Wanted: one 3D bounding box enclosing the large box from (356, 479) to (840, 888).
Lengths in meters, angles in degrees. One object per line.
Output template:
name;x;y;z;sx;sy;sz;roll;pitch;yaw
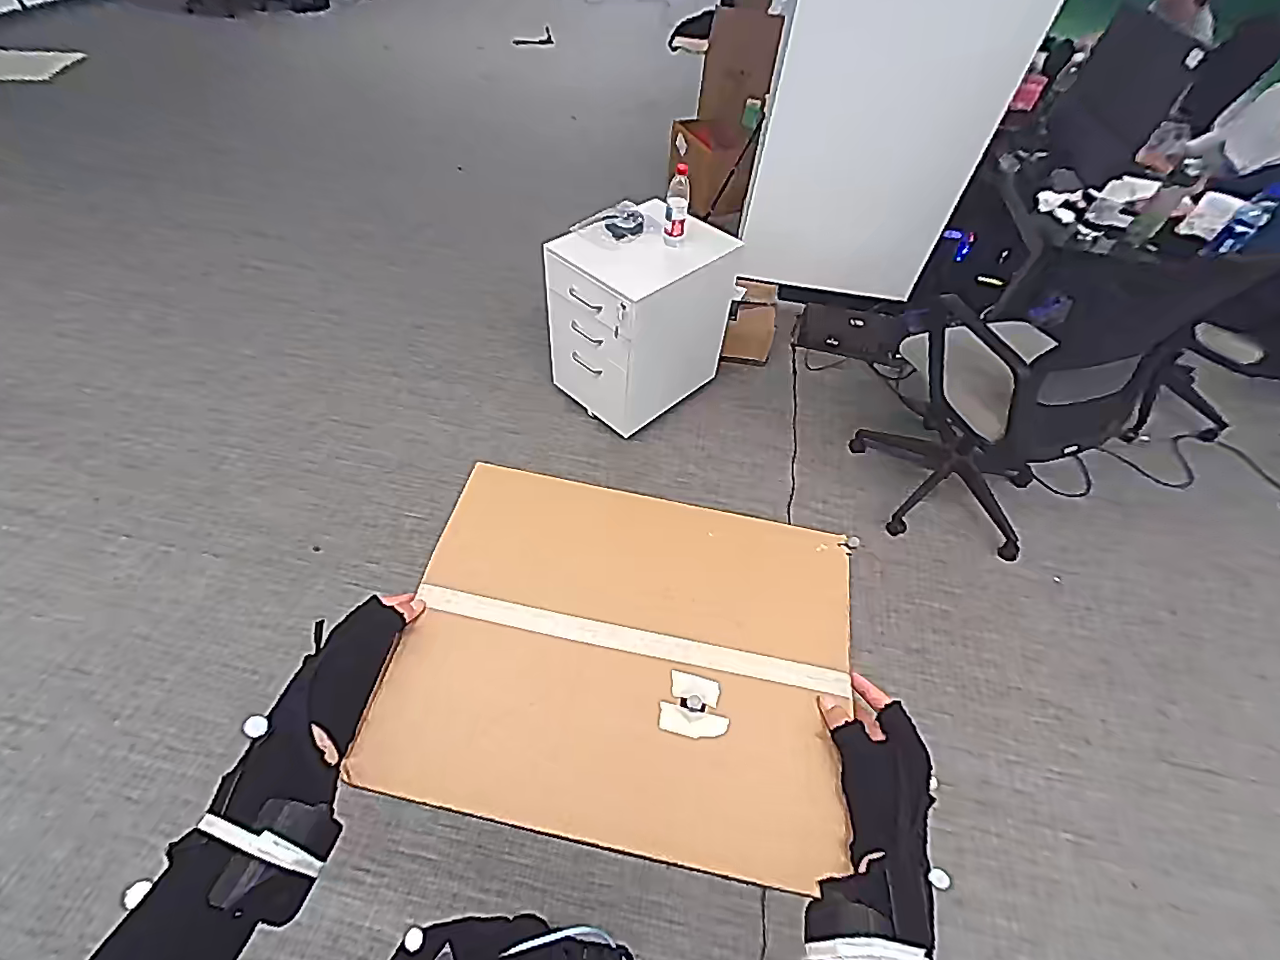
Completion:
large box;-0.023;0.239;0.634;0.408;0.320;0.320;12;57;3
